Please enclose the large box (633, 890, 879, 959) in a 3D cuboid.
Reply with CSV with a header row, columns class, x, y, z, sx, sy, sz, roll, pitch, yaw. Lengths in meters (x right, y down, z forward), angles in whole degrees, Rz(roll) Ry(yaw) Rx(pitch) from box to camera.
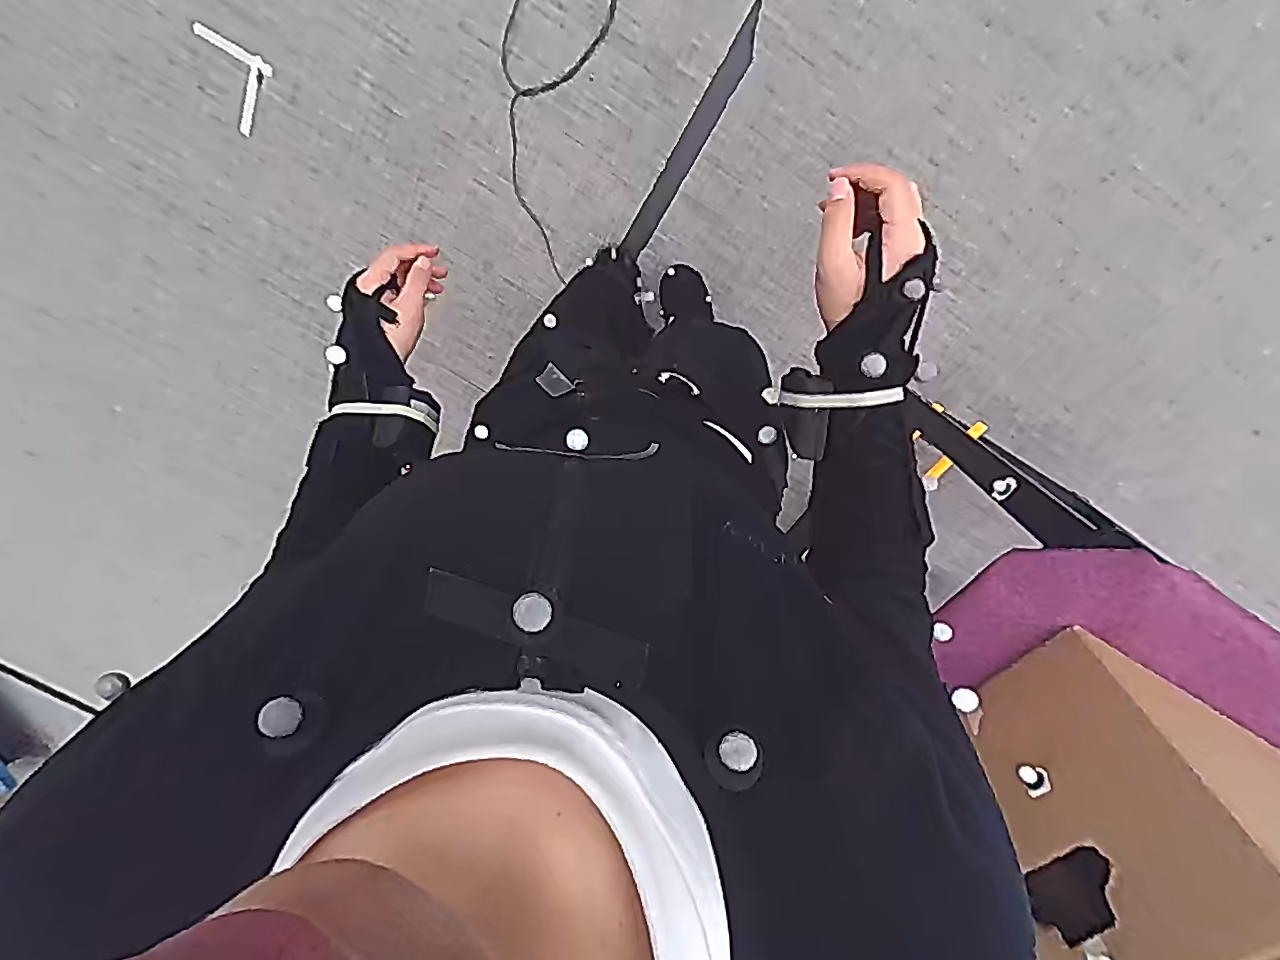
class,x,y,z,sx,sy,sz,roll,pitch,yaw
large box,0.210,0.966,0.877,0.408,0.320,0.320,30,115,-8
